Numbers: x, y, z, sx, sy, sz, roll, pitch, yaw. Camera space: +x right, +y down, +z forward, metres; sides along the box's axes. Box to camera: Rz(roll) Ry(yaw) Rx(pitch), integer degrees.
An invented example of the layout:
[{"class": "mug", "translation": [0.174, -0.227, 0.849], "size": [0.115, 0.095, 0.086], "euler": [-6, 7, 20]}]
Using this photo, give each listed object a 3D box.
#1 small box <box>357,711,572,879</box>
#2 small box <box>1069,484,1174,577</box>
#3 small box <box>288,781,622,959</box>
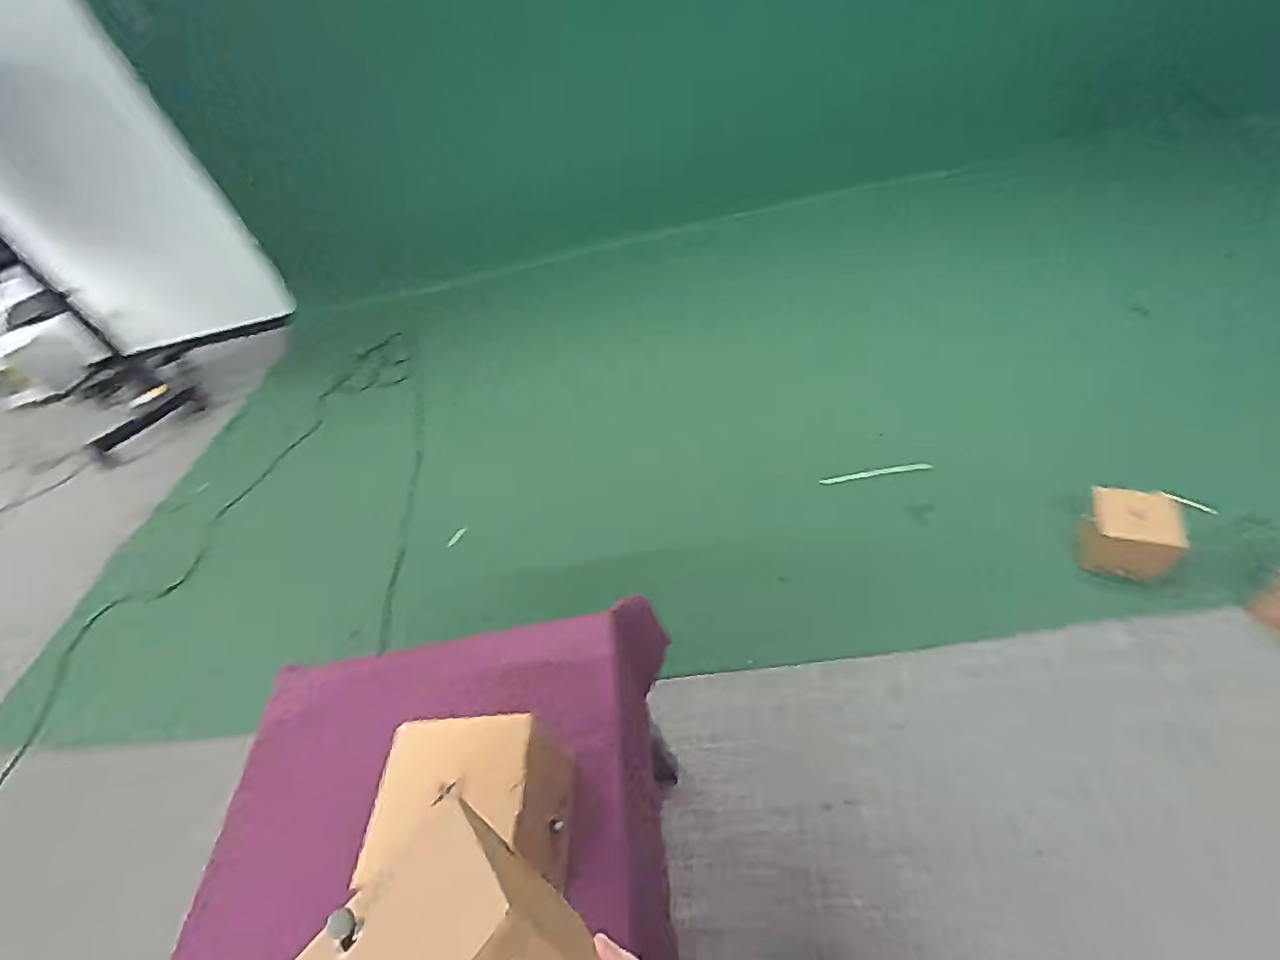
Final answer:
[{"class": "small box", "translation": [-0.197, 0.404, 0.664], "size": [0.179, 0.176, 0.168], "euler": [-8, 45, 8]}, {"class": "small box", "translation": [1.317, 0.138, 1.495], "size": [0.168, 0.176, 0.179], "euler": [8, 50, 24]}, {"class": "small box", "translation": [-0.107, 0.330, 0.324], "size": [0.179, 0.168, 0.176], "euler": [-41, 13, -26]}]
